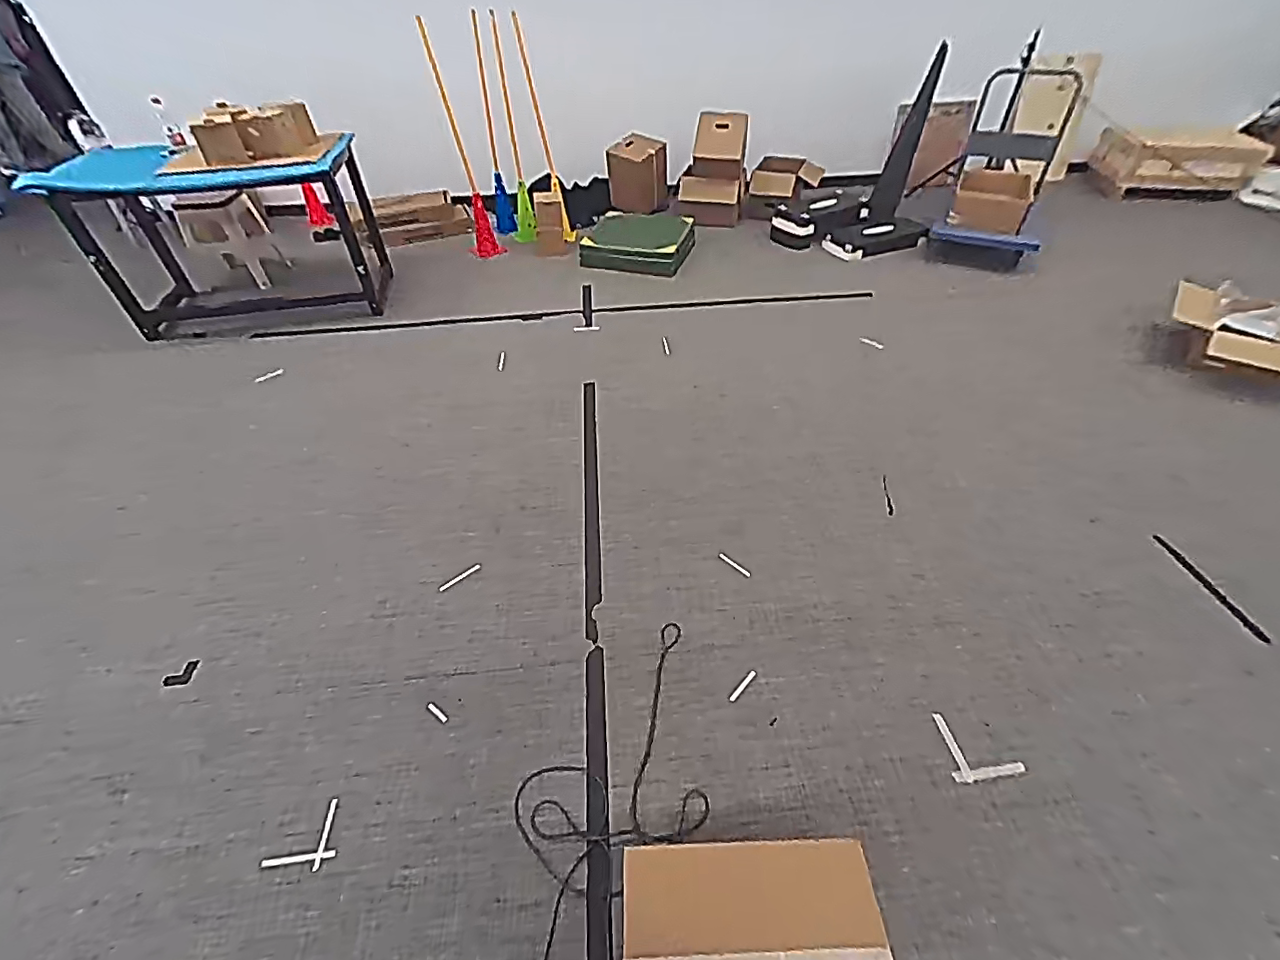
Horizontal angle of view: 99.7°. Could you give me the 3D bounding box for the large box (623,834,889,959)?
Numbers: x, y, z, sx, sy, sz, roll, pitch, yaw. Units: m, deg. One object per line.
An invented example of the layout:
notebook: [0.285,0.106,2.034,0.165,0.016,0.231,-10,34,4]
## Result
large box: [0.178,0.831,0.919,0.408,0.320,0.320,-2,44,0]
